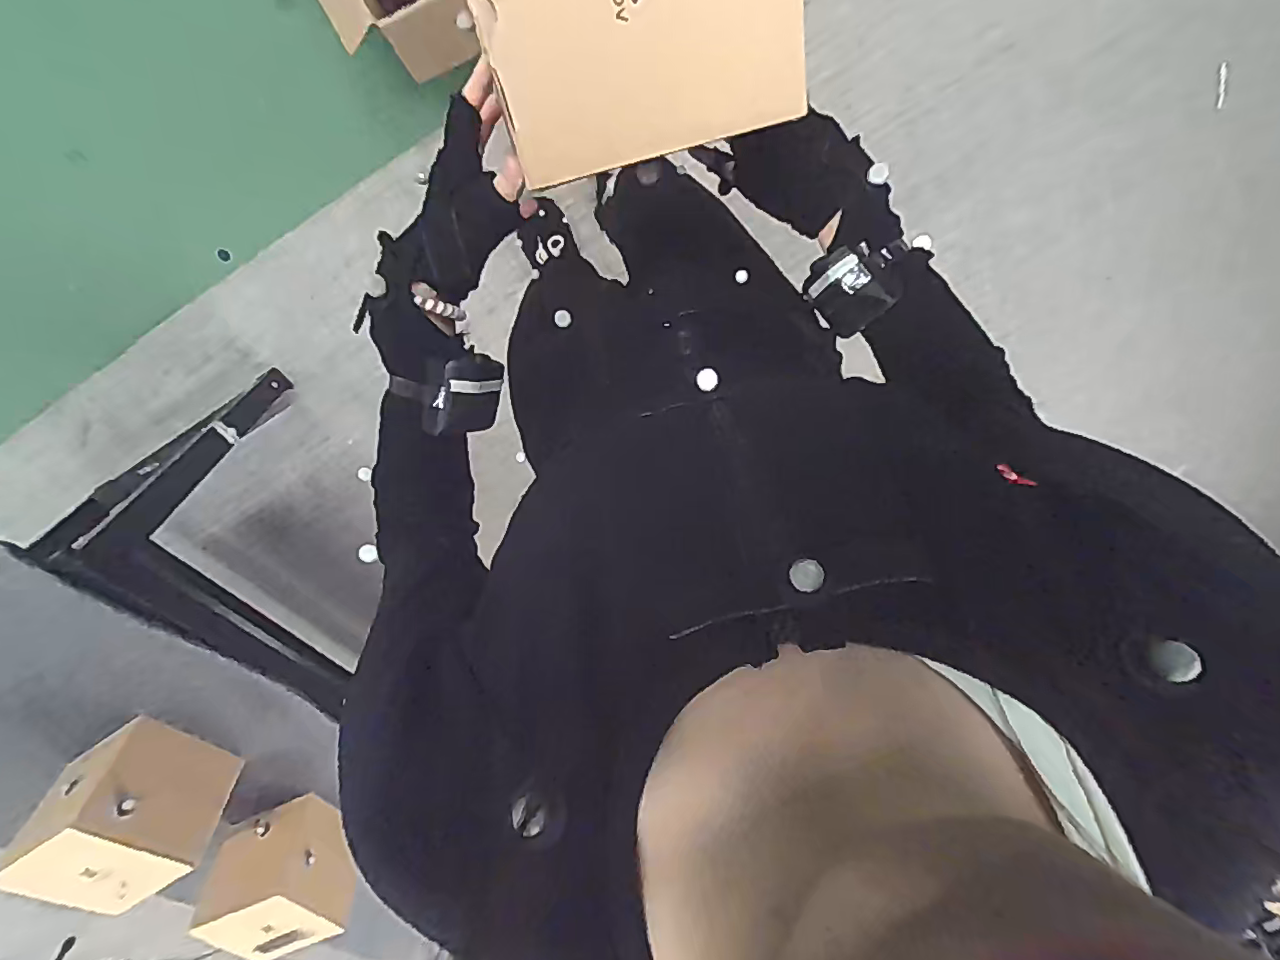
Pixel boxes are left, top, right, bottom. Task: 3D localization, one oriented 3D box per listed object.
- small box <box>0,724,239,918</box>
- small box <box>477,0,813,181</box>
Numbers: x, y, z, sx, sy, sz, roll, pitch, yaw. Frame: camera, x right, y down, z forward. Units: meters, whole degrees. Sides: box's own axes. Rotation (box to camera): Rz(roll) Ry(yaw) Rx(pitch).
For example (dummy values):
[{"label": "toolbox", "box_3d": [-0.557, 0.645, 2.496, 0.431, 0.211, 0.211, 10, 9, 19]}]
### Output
[{"label": "small box", "box_3d": [-0.754, 0.492, 0.796, 0.168, 0.176, 0.179, -32, 123, 8]}, {"label": "small box", "box_3d": [-0.011, -0.308, 0.339, 0.179, 0.176, 0.168, -17, 125, -2]}]
